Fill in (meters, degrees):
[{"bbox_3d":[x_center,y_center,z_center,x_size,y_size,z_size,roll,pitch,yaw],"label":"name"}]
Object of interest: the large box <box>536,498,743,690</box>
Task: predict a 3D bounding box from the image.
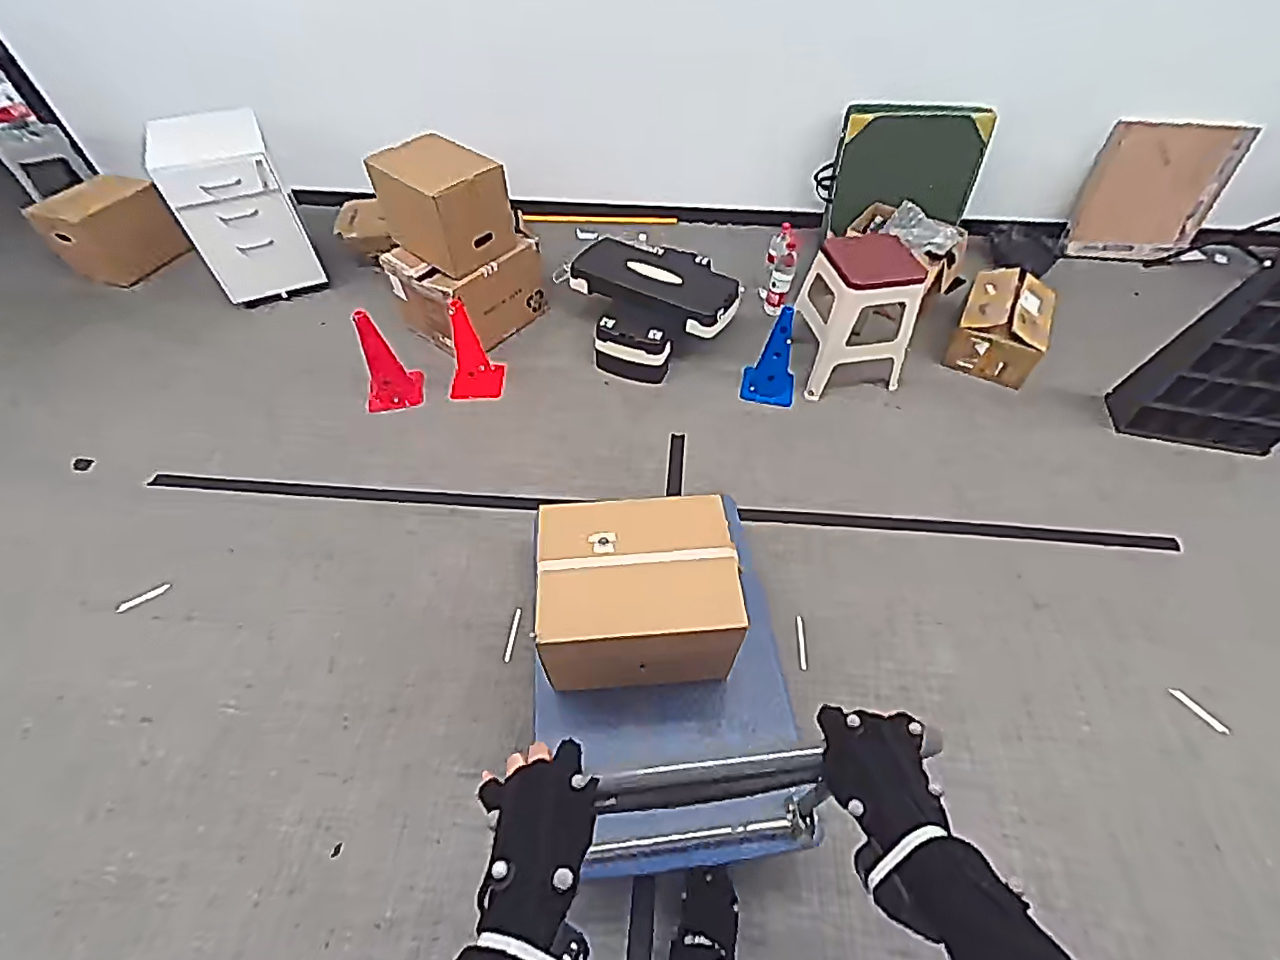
[{"bbox_3d":[-0.009,0.267,1.235,0.408,0.320,0.320,-4,53,-2],"label":"large box"}]
